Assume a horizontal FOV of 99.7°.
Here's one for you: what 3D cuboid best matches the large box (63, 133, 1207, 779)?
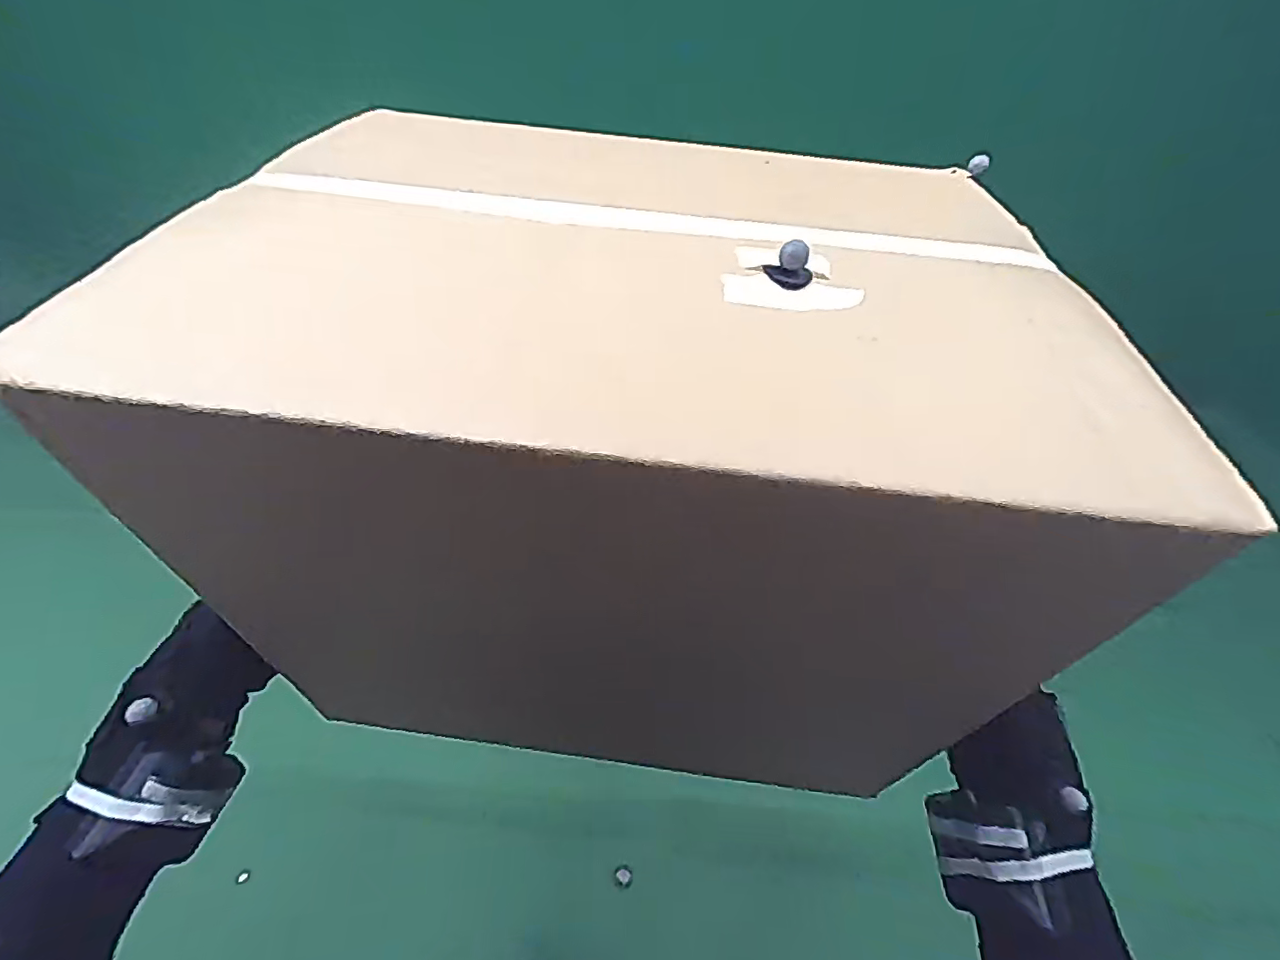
[{"bbox_3d":[-0.002,-0.016,0.392,0.408,0.320,0.320,8,47,2],"label":"large box"}]
